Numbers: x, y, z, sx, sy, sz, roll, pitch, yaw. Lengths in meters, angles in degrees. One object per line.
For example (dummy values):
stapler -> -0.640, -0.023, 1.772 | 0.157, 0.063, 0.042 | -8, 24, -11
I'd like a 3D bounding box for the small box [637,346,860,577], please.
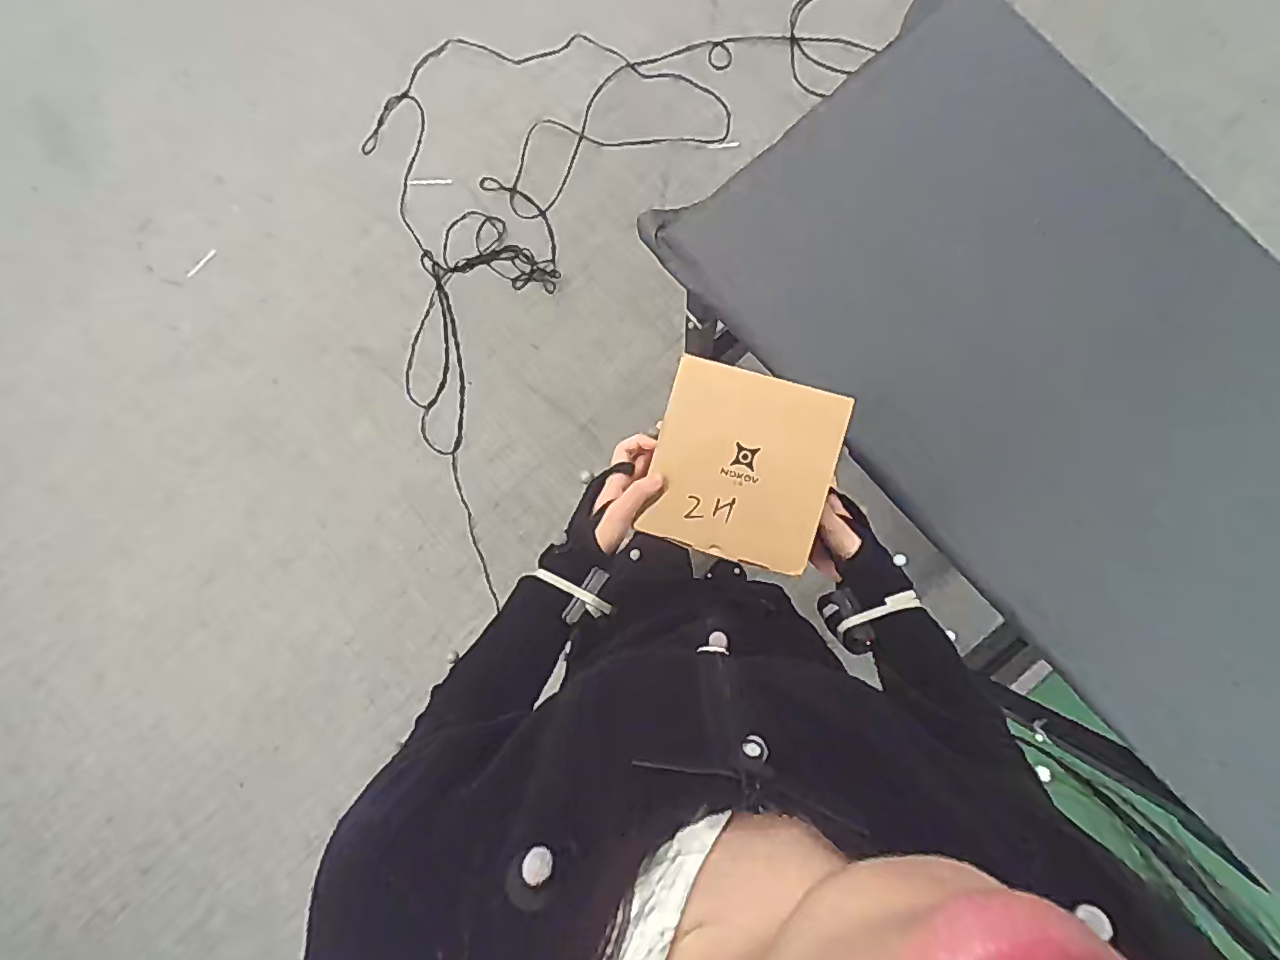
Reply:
small box -> 0.102, -0.015, 0.570 | 0.168, 0.176, 0.179 | 17, 89, 5
